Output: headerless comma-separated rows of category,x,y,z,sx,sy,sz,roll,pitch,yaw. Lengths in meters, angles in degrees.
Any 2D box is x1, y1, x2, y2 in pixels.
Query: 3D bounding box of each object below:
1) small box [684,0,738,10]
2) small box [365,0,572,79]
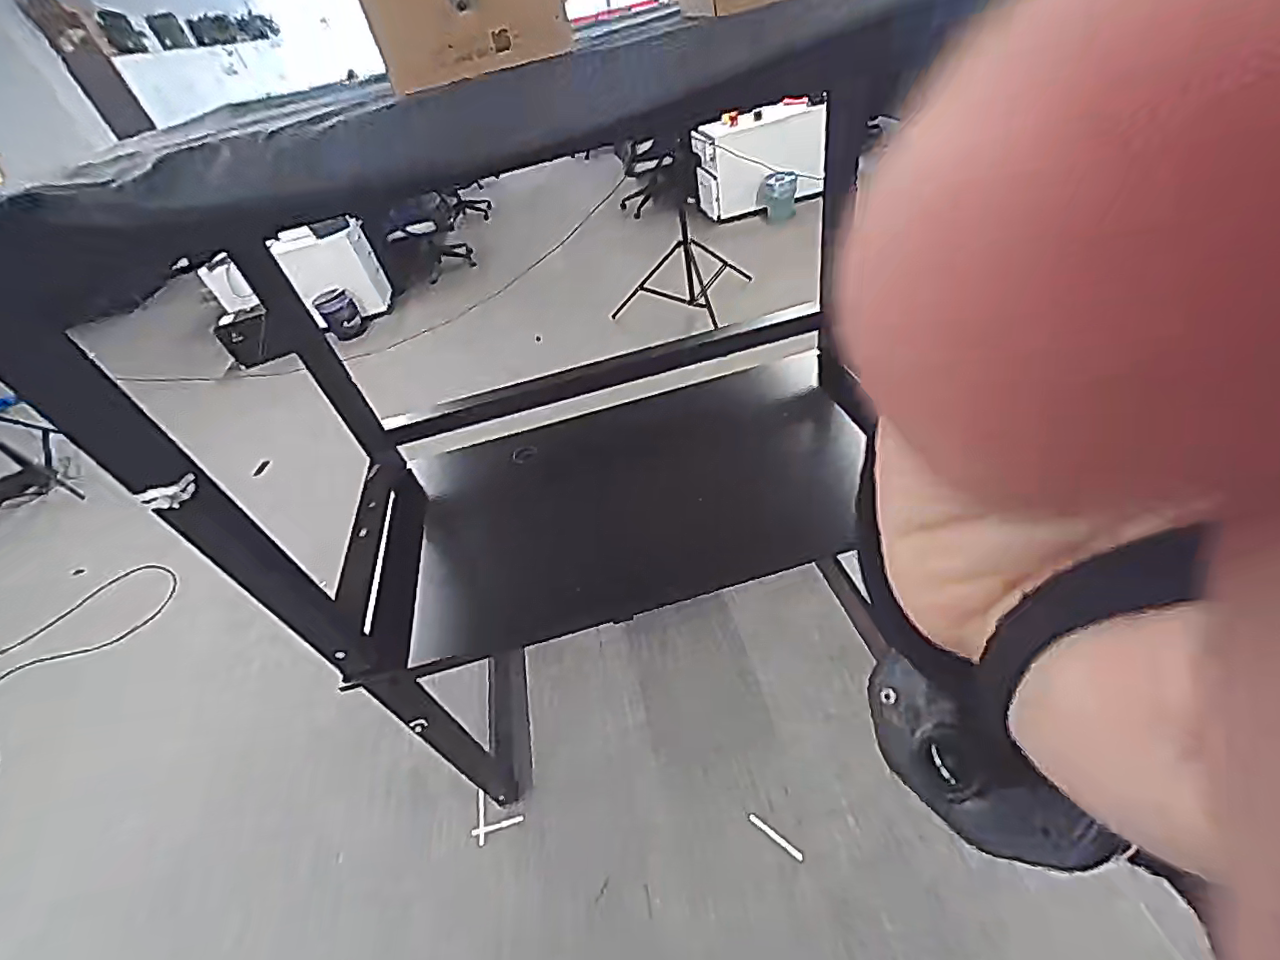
small box,0.122,-0.561,0.498,0.168,0.176,0.179,-13,40,2
small box,-0.165,-0.479,0.485,0.168,0.176,0.179,-15,40,0
